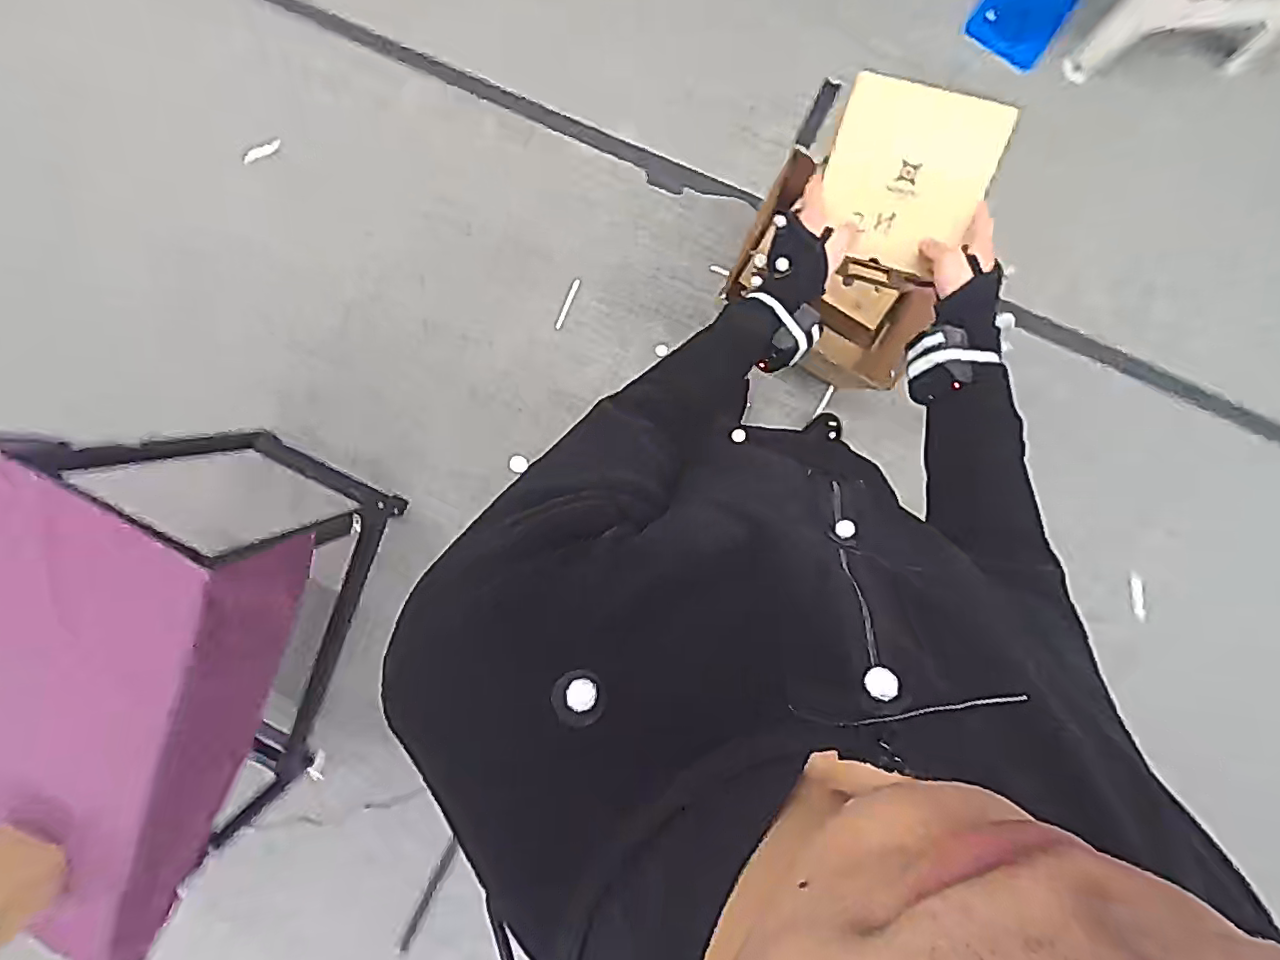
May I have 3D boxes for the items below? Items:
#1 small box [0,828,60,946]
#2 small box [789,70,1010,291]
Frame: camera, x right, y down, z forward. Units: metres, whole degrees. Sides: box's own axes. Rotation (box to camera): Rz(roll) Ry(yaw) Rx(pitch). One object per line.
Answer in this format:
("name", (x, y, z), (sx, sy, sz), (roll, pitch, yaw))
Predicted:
("small box", (-1.494, 0.948, 1.237), (0.179, 0.176, 0.168), (18, 101, 7))
("small box", (0.288, -0.340, 0.651), (0.168, 0.176, 0.179), (18, 108, 5))
